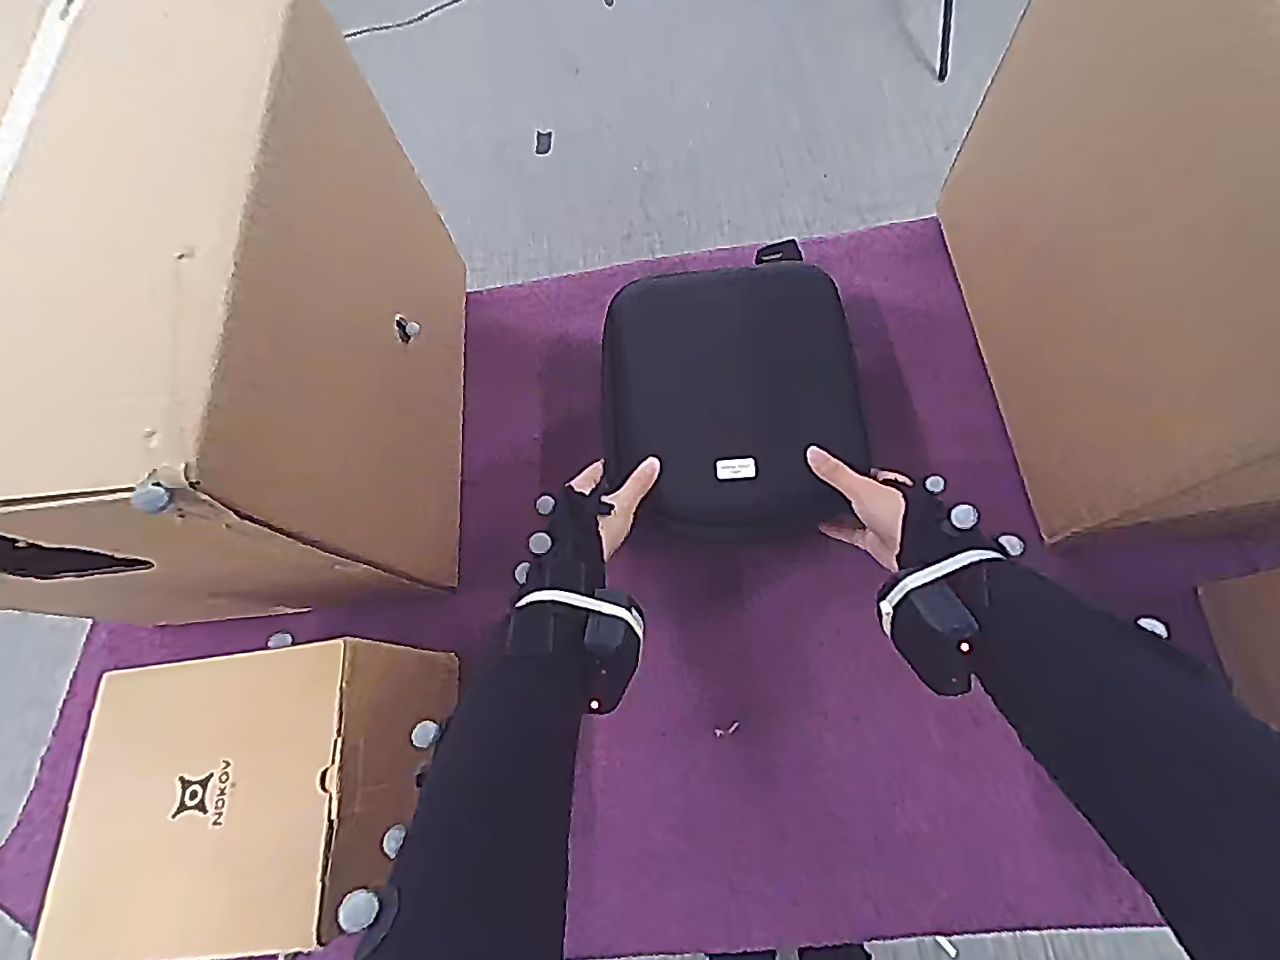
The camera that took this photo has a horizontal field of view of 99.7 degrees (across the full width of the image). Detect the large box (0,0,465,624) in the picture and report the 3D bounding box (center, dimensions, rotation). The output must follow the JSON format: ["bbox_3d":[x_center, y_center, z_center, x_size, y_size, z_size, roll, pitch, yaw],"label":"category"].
[{"bbox_3d":[-0.357,-0.106,0.469,0.320,0.320,0.408,-8,71,3],"label":"large box"}]

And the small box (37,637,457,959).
[{"bbox_3d":[-0.258,0.222,0.407,0.179,0.176,0.168,-9,67,3],"label":"small box"}]
